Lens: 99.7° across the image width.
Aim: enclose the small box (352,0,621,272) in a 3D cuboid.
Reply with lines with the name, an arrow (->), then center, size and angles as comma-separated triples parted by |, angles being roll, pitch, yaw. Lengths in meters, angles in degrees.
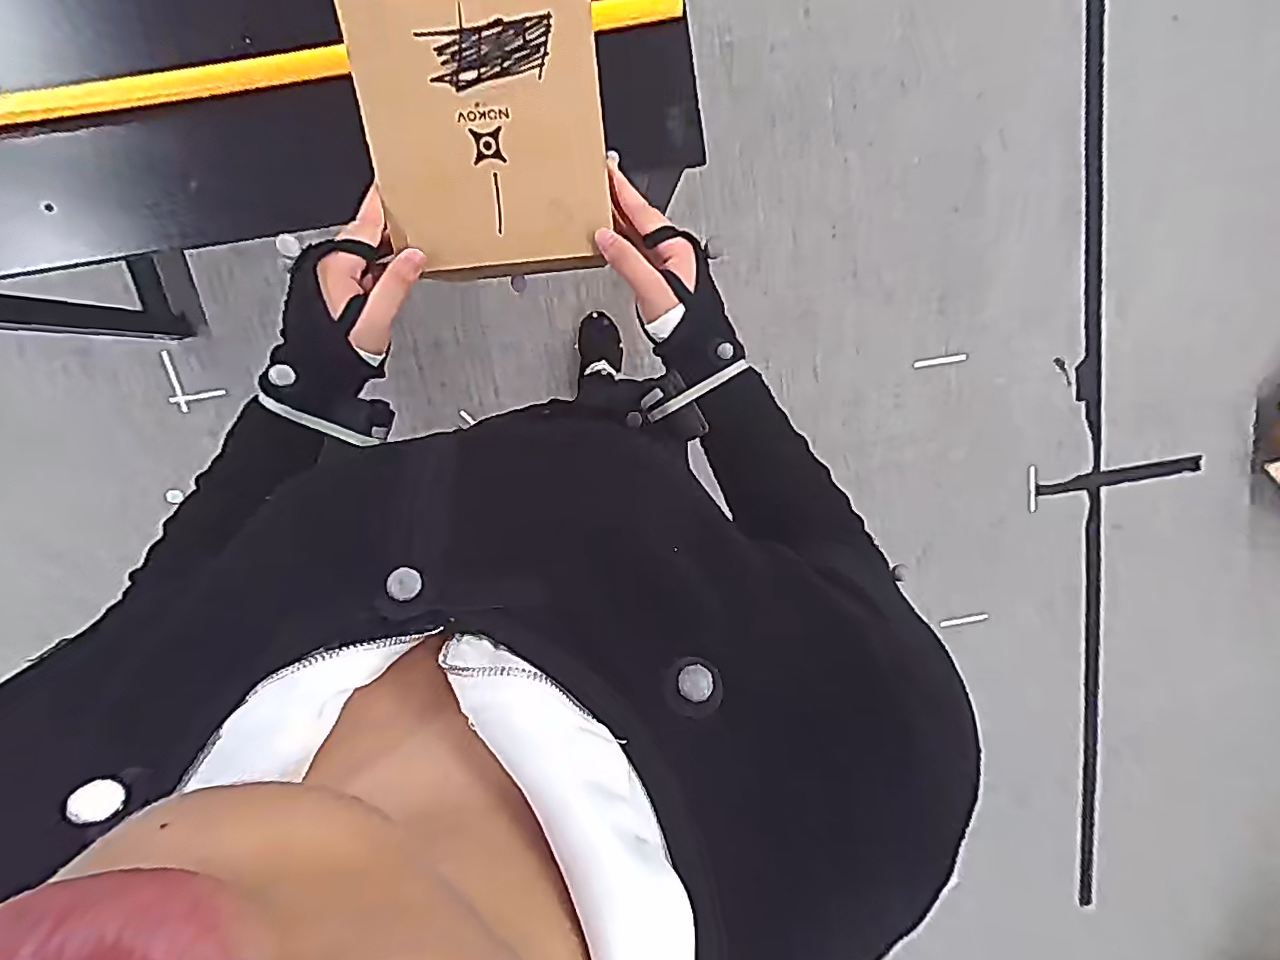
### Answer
small box -> -0.111, -0.279, 0.455 | 0.168, 0.176, 0.179 | -7, 109, -4
